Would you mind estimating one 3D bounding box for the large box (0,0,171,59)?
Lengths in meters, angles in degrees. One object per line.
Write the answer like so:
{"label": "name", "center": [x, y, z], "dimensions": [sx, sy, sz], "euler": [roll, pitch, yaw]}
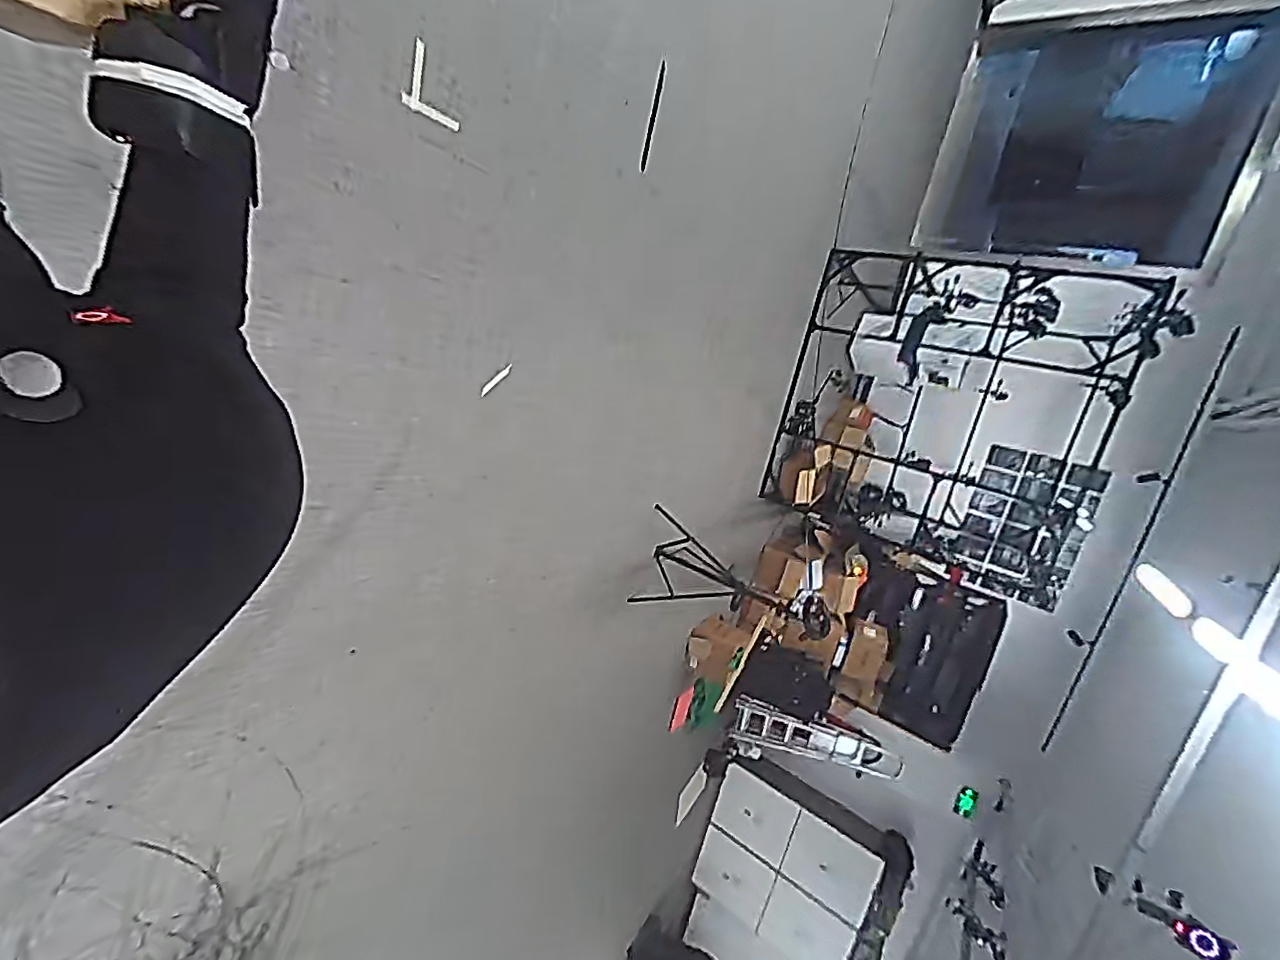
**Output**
{"label": "large box", "center": [-0.505, -0.465, 0.228], "dimensions": [0.408, 0.320, 0.320], "euler": [-10, 124, -58]}
